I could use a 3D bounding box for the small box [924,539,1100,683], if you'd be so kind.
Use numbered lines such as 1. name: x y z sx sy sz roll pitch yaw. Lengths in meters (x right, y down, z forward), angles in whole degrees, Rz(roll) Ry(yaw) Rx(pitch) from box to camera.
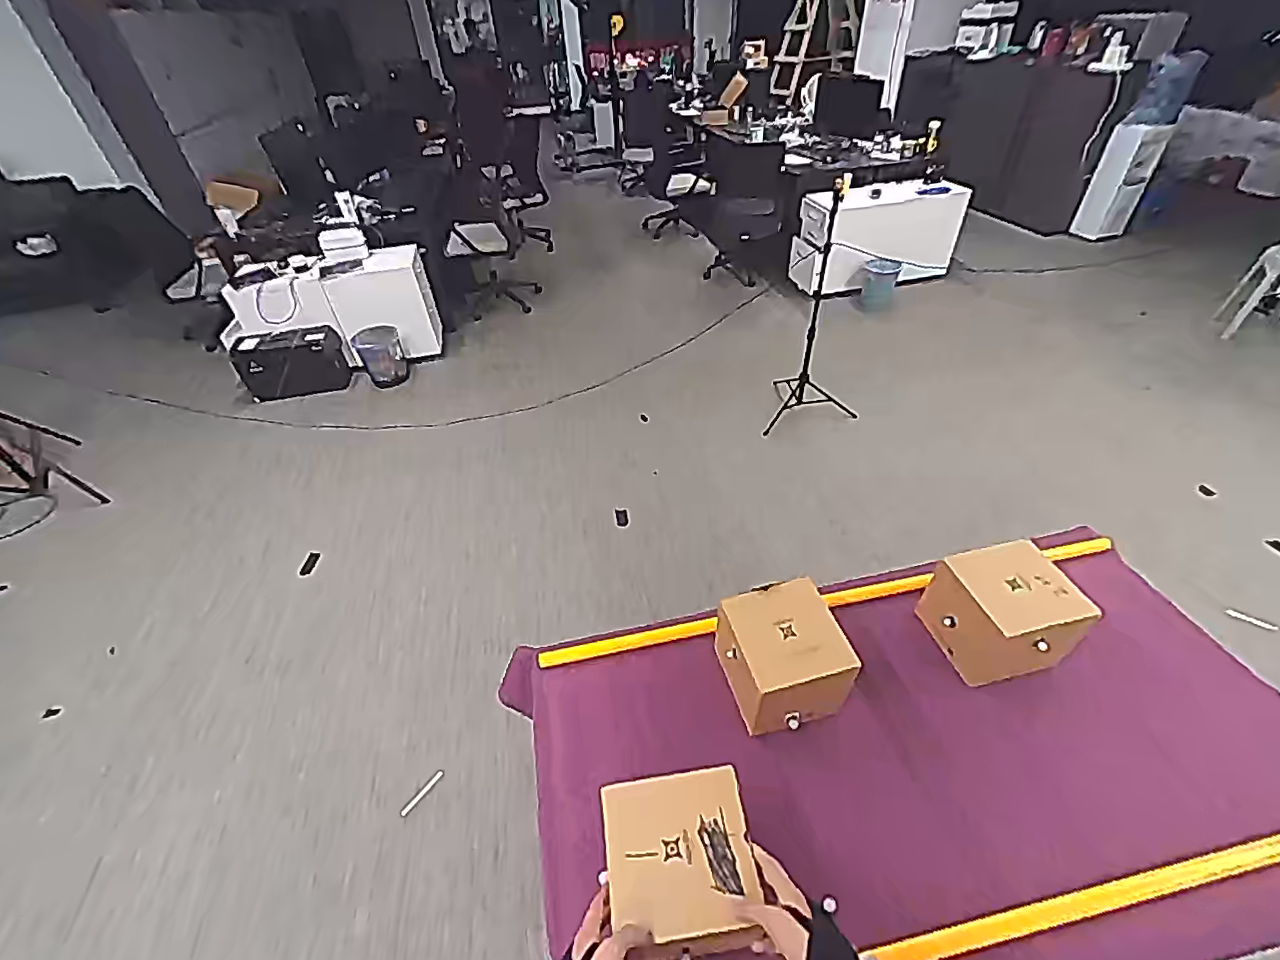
1. small box: 0.632 0.234 0.953 0.179 0.176 0.168 -10 43 -7

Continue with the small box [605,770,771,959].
1. small box: 0.051 0.499 0.695 0.179 0.176 0.168 -7 43 -4

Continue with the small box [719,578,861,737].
1. small box: 0.238 0.299 0.914 0.168 0.176 0.179 -13 43 -8
